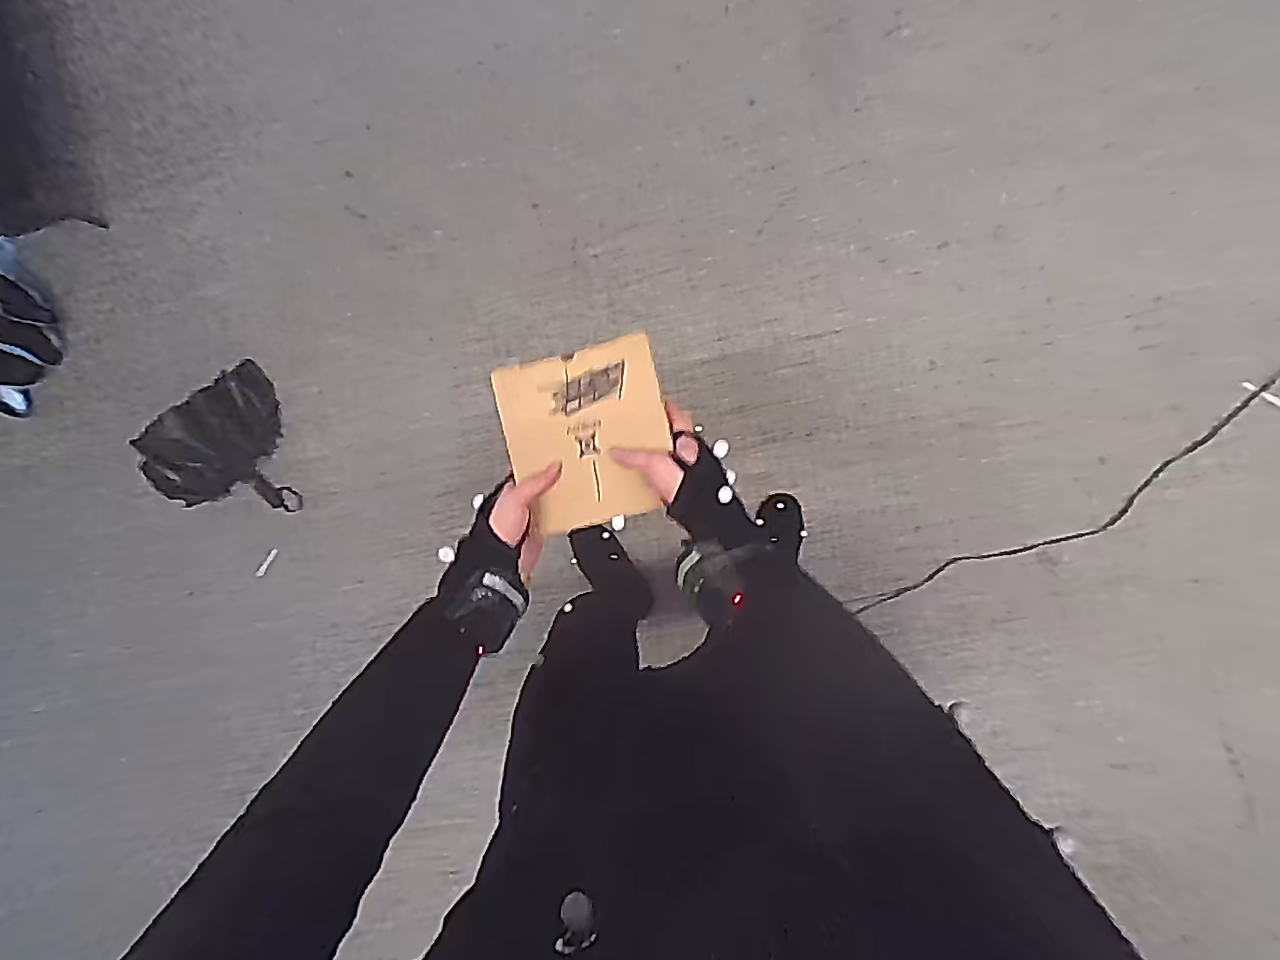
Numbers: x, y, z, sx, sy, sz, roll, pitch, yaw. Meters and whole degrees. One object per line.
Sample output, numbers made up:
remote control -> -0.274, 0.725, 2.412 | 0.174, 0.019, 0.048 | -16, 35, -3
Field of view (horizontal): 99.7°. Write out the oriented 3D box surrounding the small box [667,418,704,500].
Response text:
small box -> 0.049, -0.039, 1.240 | 0.168, 0.176, 0.179 | -13, 94, 9

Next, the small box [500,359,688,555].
small box -> -0.043, -0.021, 0.633 | 0.168, 0.176, 0.179 | -13, 88, 5
